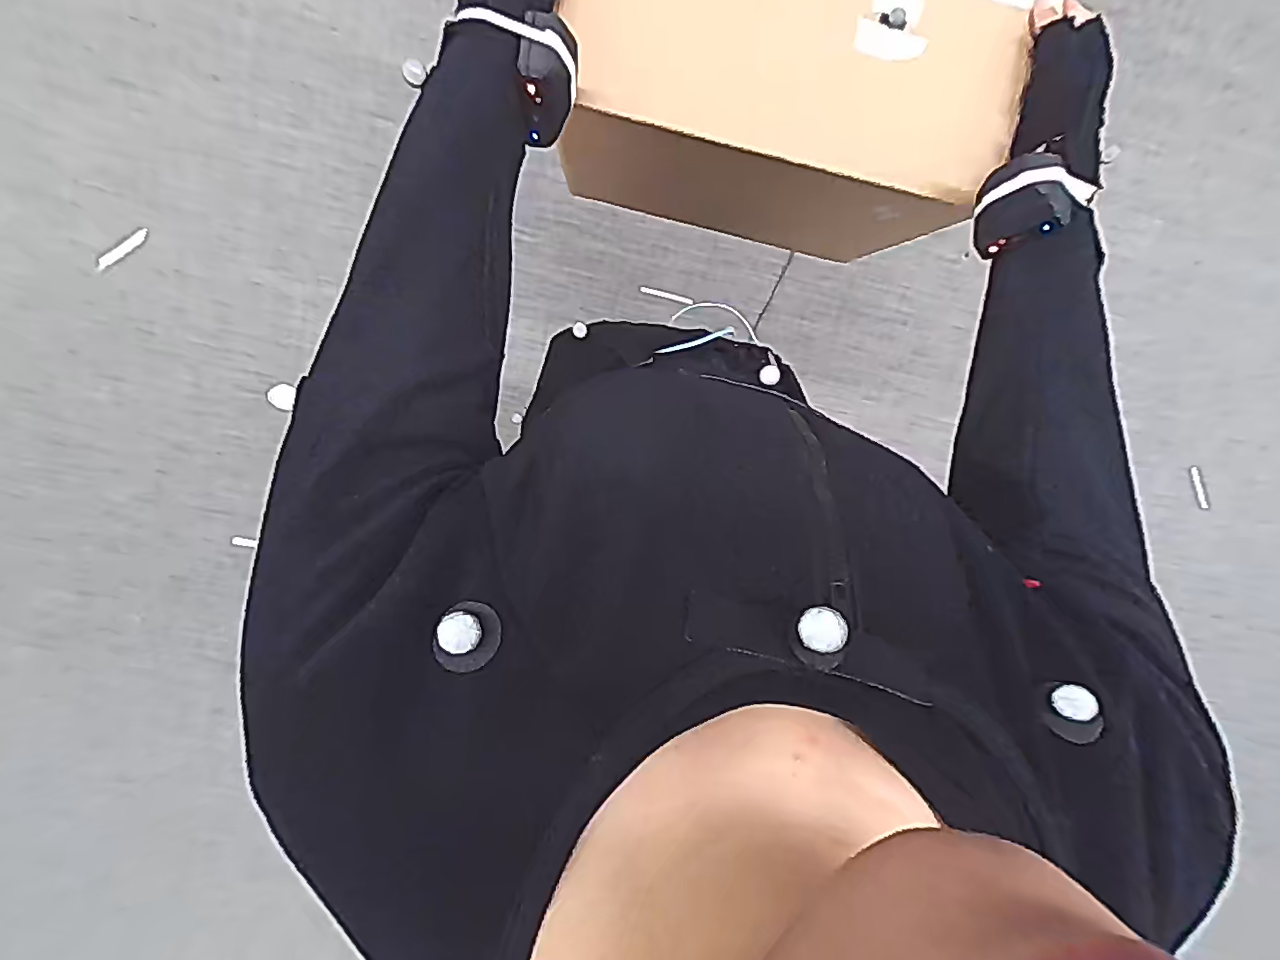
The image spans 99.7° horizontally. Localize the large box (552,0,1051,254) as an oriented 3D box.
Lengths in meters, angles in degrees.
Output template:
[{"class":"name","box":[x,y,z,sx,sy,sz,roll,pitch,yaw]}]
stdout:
[{"class":"large box","box":[0.139,-0.467,0.579,0.408,0.320,0.320,12,104,-6]}]
